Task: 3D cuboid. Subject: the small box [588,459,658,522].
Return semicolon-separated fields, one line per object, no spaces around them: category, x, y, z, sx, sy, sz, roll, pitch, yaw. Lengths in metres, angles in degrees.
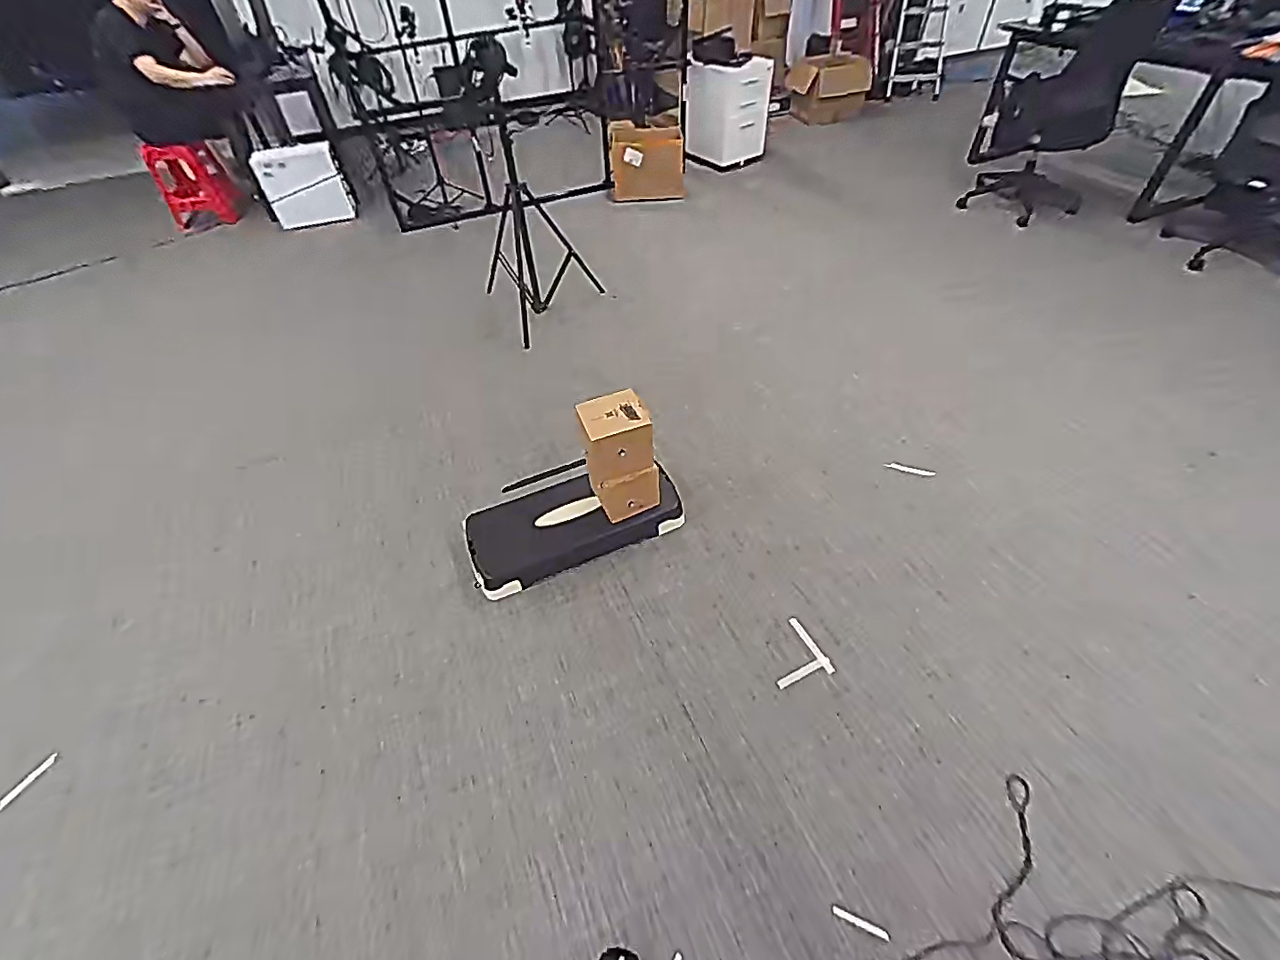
small box;-0.055;-0.004;1.665;0.168;0.176;0.179;-22;50;-16

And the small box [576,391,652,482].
small box;-0.072;-0.123;1.552;0.179;0.176;0.168;-18;49;-12
